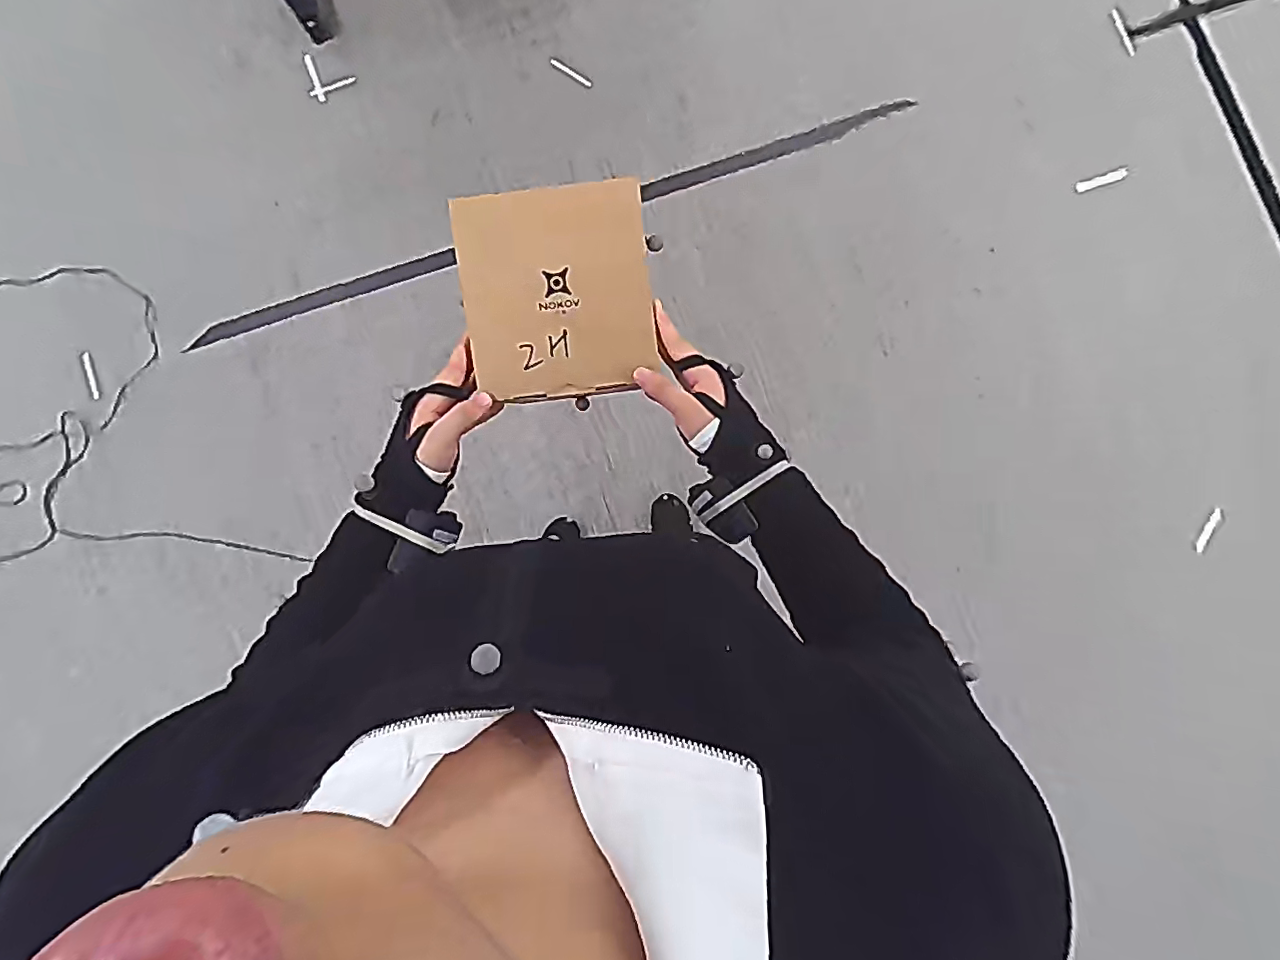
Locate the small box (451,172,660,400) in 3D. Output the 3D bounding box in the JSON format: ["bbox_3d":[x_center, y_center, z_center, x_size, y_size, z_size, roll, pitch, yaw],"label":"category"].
[{"bbox_3d":[-0.073,-0.178,0.548,0.168,0.176,0.179,-7,98,1],"label":"small box"}]
